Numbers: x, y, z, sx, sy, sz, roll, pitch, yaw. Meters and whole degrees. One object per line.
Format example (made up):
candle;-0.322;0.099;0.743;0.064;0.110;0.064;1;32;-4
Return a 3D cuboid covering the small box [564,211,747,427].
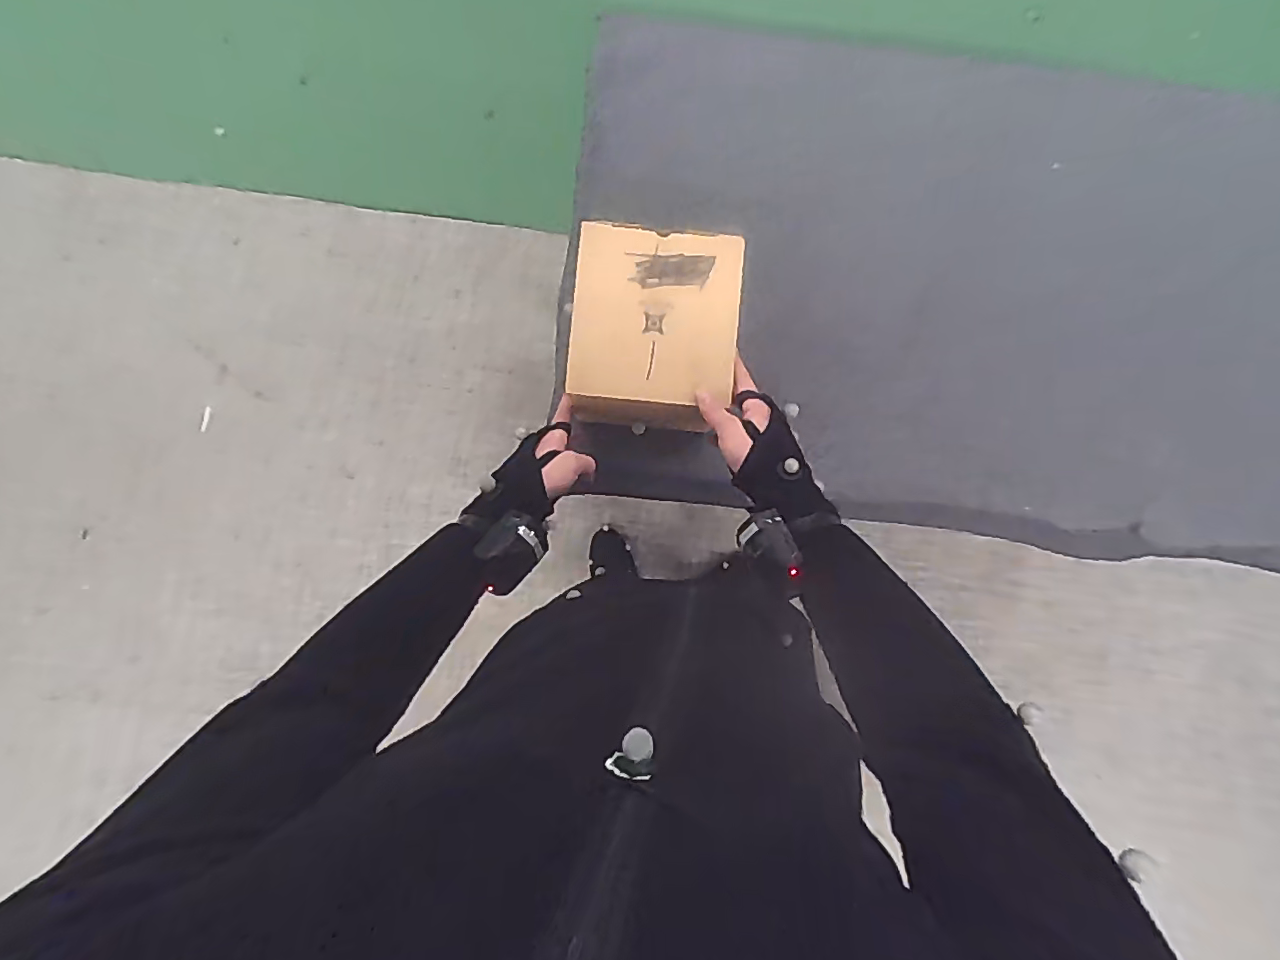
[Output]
small box;0.015;-0.164;0.601;0.168;0.176;0.179;5;87;0
